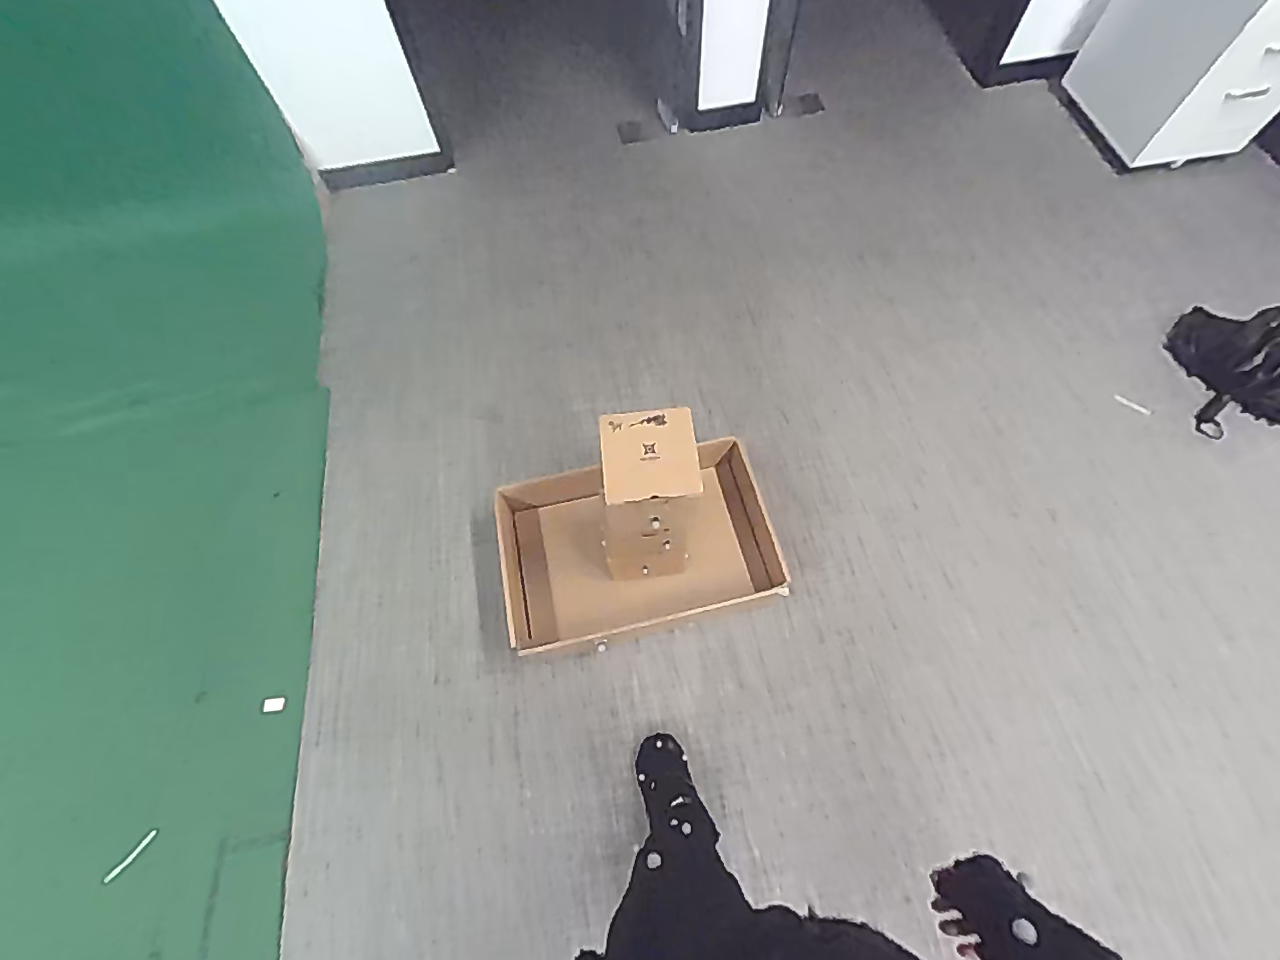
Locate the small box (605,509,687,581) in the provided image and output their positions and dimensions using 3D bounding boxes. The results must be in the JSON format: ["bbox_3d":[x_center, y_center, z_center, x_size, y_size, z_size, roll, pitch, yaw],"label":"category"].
[{"bbox_3d":[0.016,0.138,1.314,0.179,0.176,0.168,-8,64,2],"label":"small box"}]

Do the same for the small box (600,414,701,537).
[{"bbox_3d":[0.023,0.000,1.024,0.168,0.176,0.179,-8,64,3],"label":"small box"}]

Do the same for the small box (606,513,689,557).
[{"bbox_3d":[0.015,0.058,1.155,0.168,0.176,0.179,-5,63,0],"label":"small box"}]
